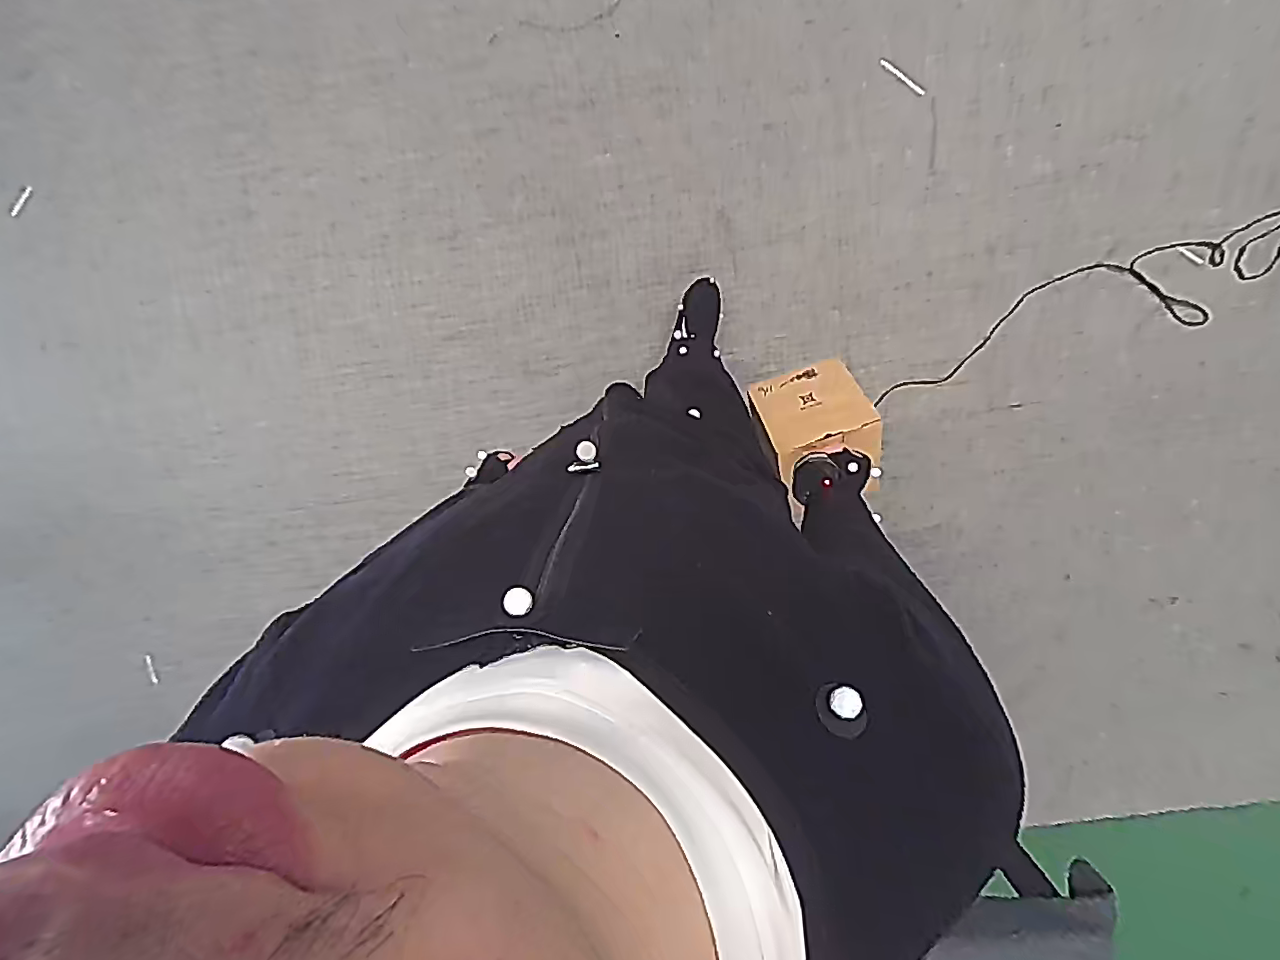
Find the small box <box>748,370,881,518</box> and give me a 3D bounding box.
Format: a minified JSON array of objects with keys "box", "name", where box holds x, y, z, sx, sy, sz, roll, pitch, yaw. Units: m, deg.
[{"box":[0.305,-0.055,0.944,0.168,0.179,0.176,-20,132,6],"name":"small box"}]
